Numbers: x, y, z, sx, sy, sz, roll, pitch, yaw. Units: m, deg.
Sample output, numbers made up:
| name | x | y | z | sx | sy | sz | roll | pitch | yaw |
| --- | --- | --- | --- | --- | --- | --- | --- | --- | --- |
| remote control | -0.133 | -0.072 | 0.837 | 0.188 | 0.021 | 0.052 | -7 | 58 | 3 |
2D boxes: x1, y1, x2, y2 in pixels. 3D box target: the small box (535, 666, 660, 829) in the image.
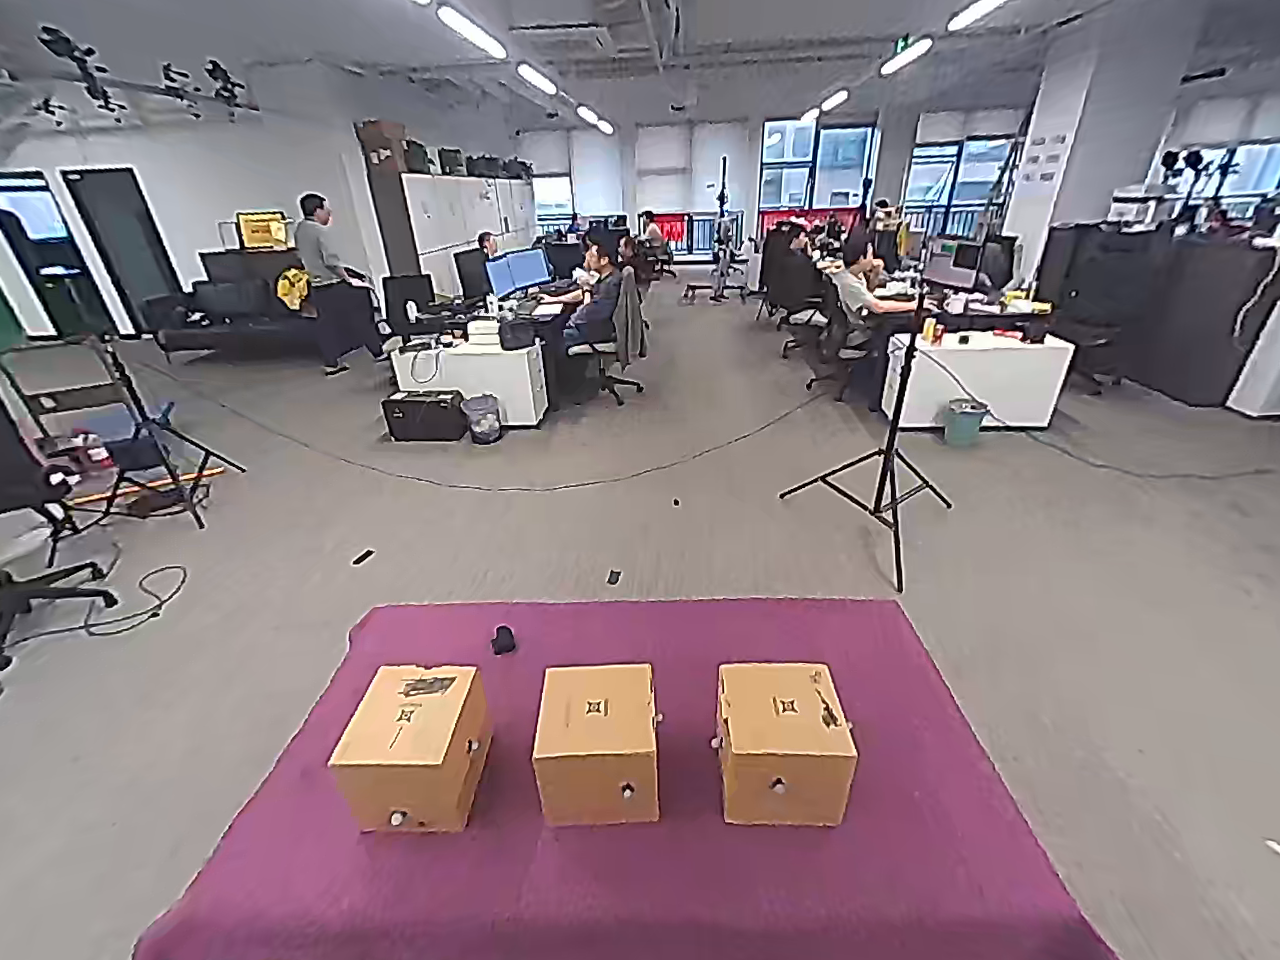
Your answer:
| name | x | y | z | sx | sy | sz | roll | pitch | yaw |
| --- | --- | --- | --- | --- | --- | --- | --- | --- | --- |
| small box | -0.060 | 0.422 | 0.860 | 0.179 | 0.176 | 0.168 | -4 | 26 | -1 |

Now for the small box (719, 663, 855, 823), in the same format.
| name | x | y | z | sx | sy | sz | roll | pitch | yaw |
| --- | --- | --- | --- | --- | --- | --- | --- | --- | --- |
| small box | 0.219 | 0.412 | 0.853 | 0.179 | 0.176 | 0.168 | -2 | 28 | 3 |
